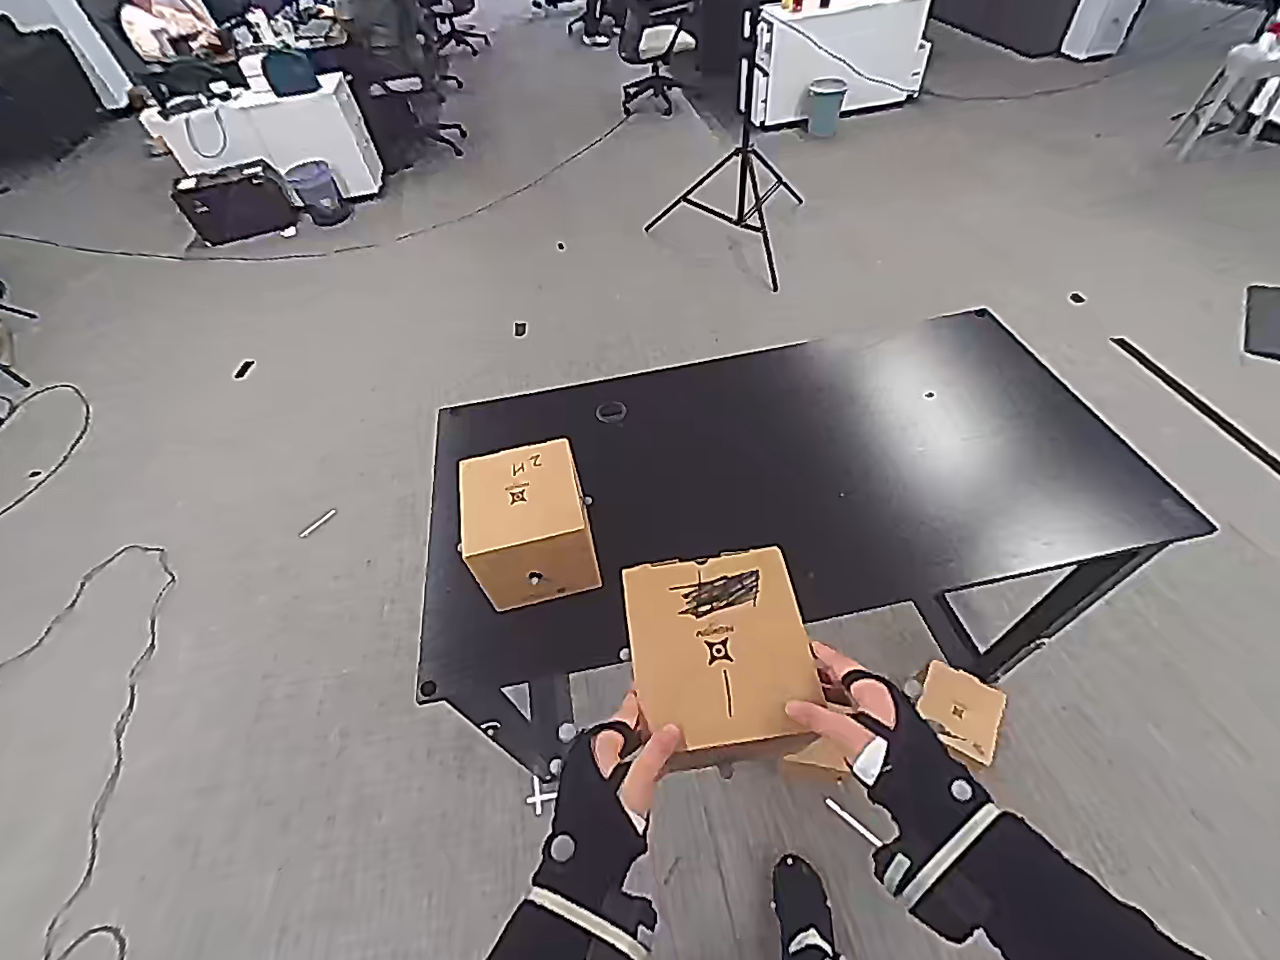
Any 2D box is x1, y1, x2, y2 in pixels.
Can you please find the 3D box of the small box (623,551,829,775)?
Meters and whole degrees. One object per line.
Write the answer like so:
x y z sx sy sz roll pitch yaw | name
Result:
0.077 0.198 0.572 0.168 0.176 0.179 -8 57 0 | small box

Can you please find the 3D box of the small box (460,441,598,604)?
-0.166 0.072 0.827 0.168 0.176 0.179 -13 51 -5 | small box

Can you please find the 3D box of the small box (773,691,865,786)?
0.416 0.608 1.276 0.179 0.176 0.168 4 52 11 | small box

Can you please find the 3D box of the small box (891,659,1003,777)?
0.716 0.563 1.276 0.168 0.176 0.179 24 58 23 | small box
